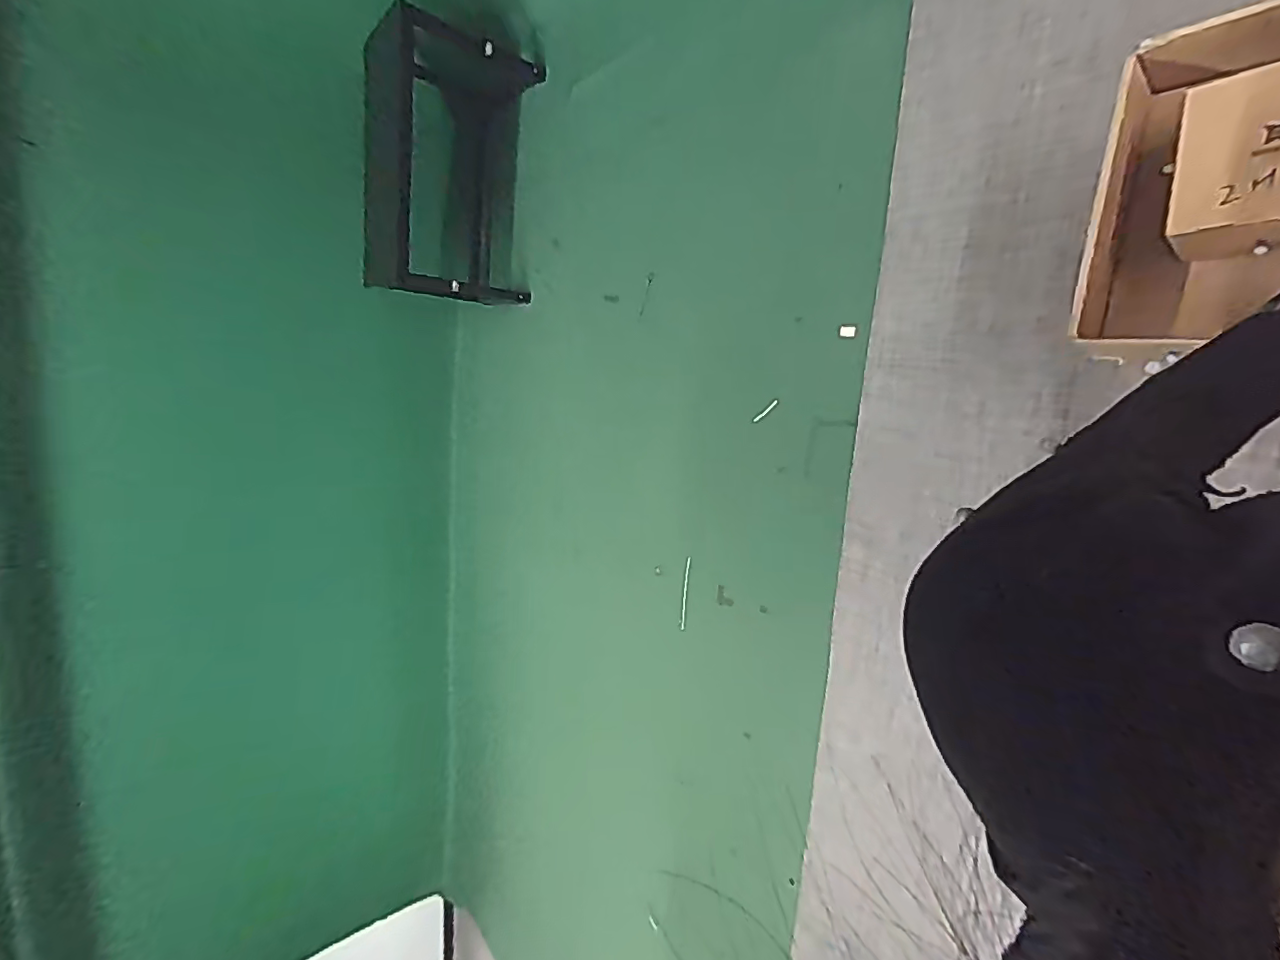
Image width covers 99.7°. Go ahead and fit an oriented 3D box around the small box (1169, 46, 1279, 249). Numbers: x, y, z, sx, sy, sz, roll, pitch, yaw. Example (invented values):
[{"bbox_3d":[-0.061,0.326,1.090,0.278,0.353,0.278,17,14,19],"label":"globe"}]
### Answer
[{"bbox_3d":[0.780,-0.403,0.657,0.168,0.176,0.179,11,102,50],"label":"small box"}]
